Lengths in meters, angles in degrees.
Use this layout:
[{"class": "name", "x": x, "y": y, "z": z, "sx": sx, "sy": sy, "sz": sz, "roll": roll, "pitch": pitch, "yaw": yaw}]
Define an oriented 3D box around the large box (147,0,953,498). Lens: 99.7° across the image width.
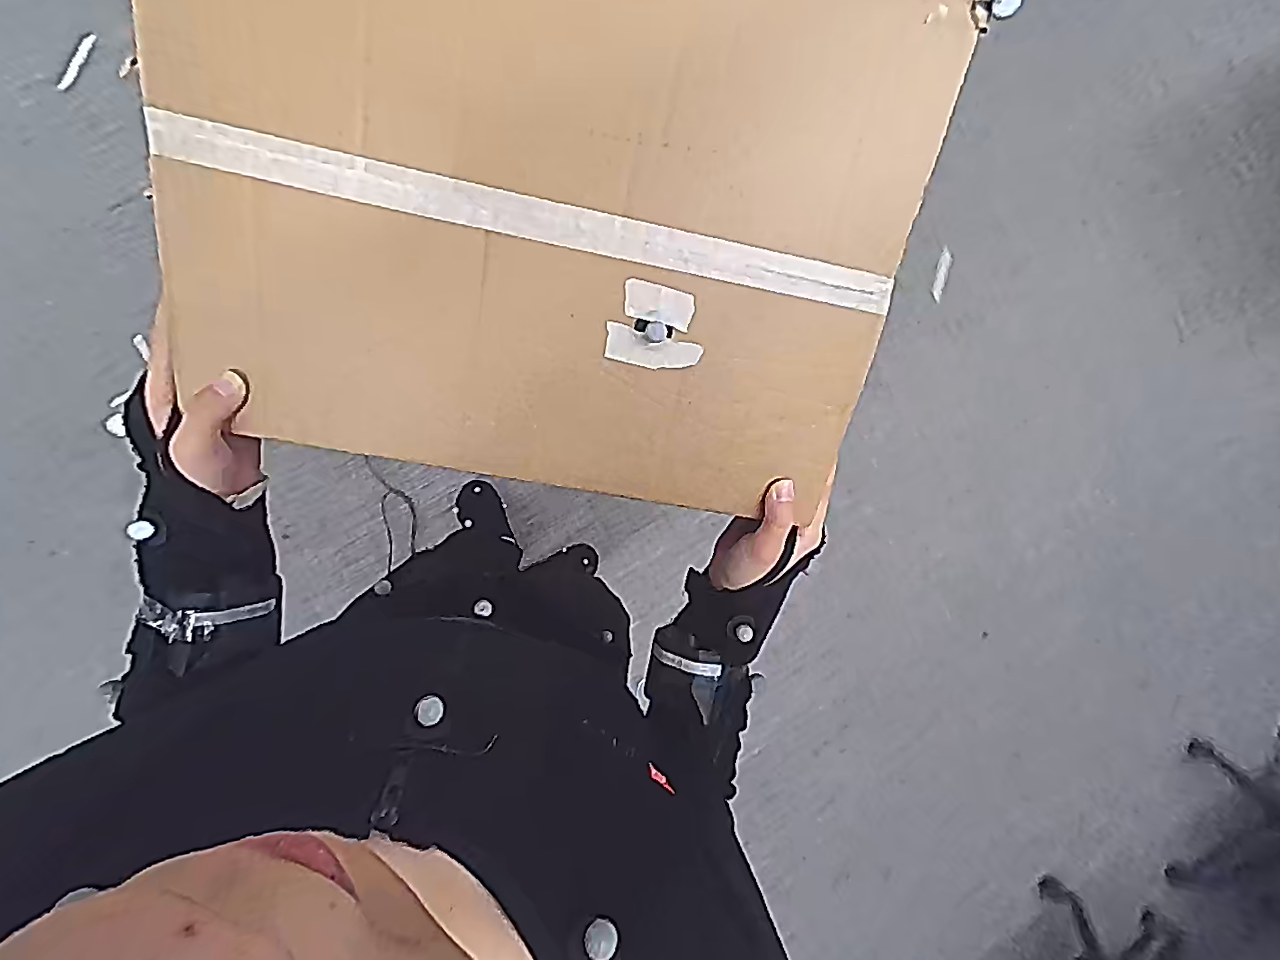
[{"class": "large box", "x": -0.066, "y": -0.202, "z": 0.443, "sx": 0.408, "sy": 0.320, "sz": 0.320, "roll": 8, "pitch": 111, "yaw": -9}]
